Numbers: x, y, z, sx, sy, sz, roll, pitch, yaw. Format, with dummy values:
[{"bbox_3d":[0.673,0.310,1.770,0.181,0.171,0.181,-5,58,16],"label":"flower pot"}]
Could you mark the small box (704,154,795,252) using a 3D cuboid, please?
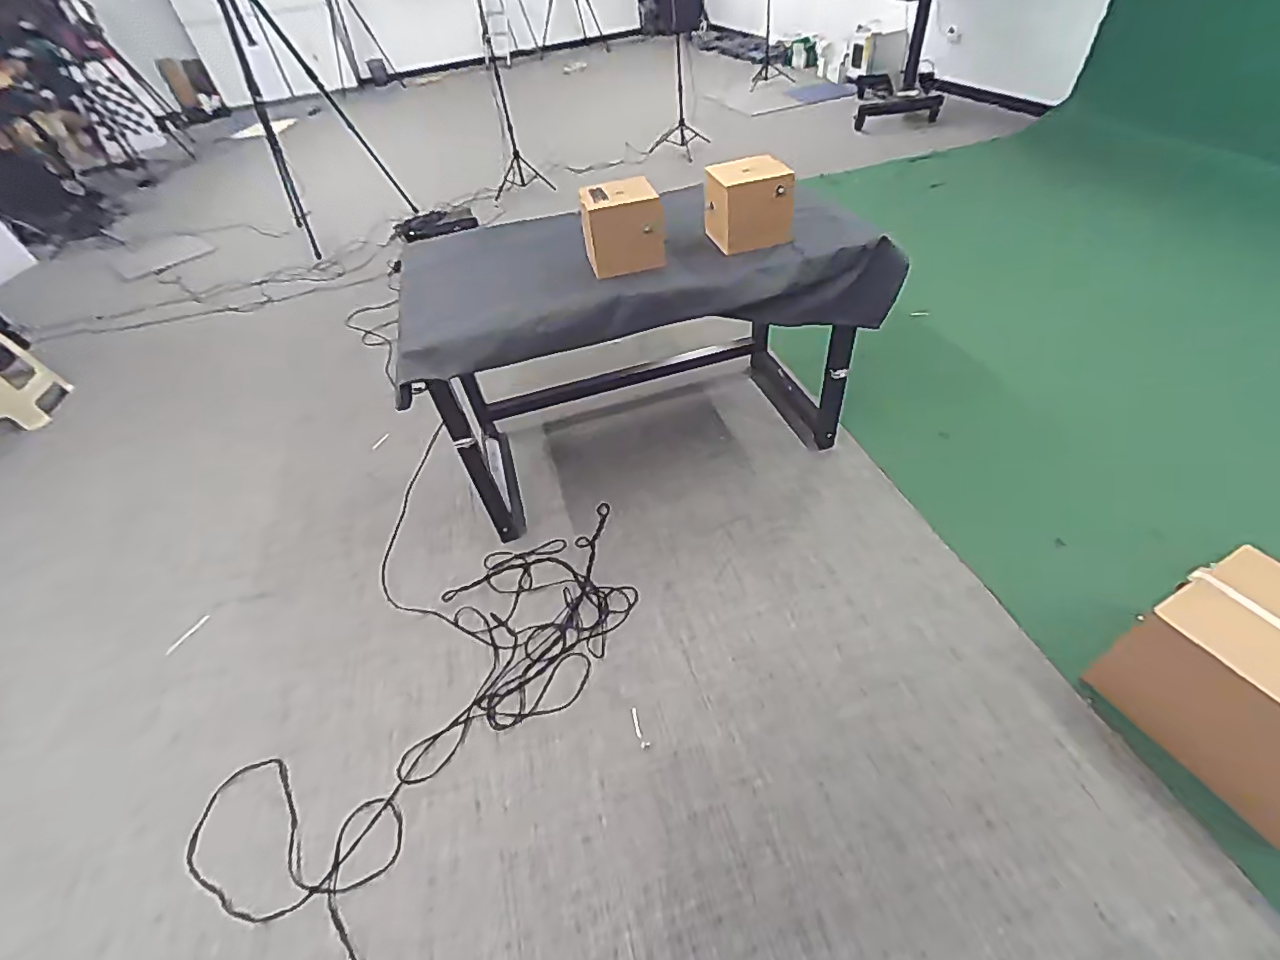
[{"bbox_3d":[0.273,-0.697,1.367,0.179,0.176,0.168,-14,46,-6],"label":"small box"}]
